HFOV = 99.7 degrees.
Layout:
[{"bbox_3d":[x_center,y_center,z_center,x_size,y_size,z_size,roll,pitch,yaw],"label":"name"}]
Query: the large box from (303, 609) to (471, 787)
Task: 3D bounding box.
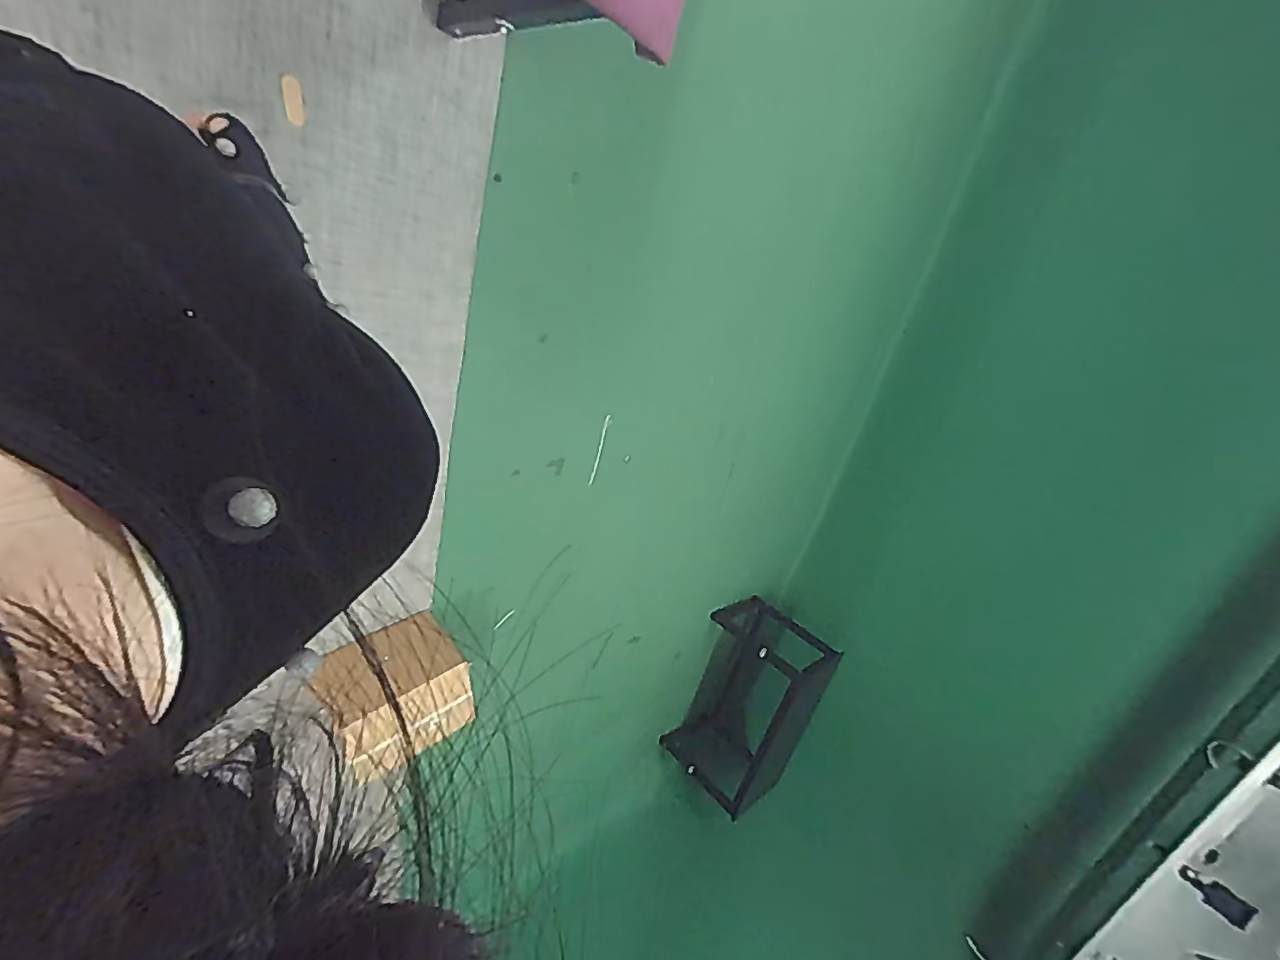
[{"bbox_3d":[-0.843,0.717,1.834,0.408,0.320,0.320,-24,133,-38],"label":"large box"}]
